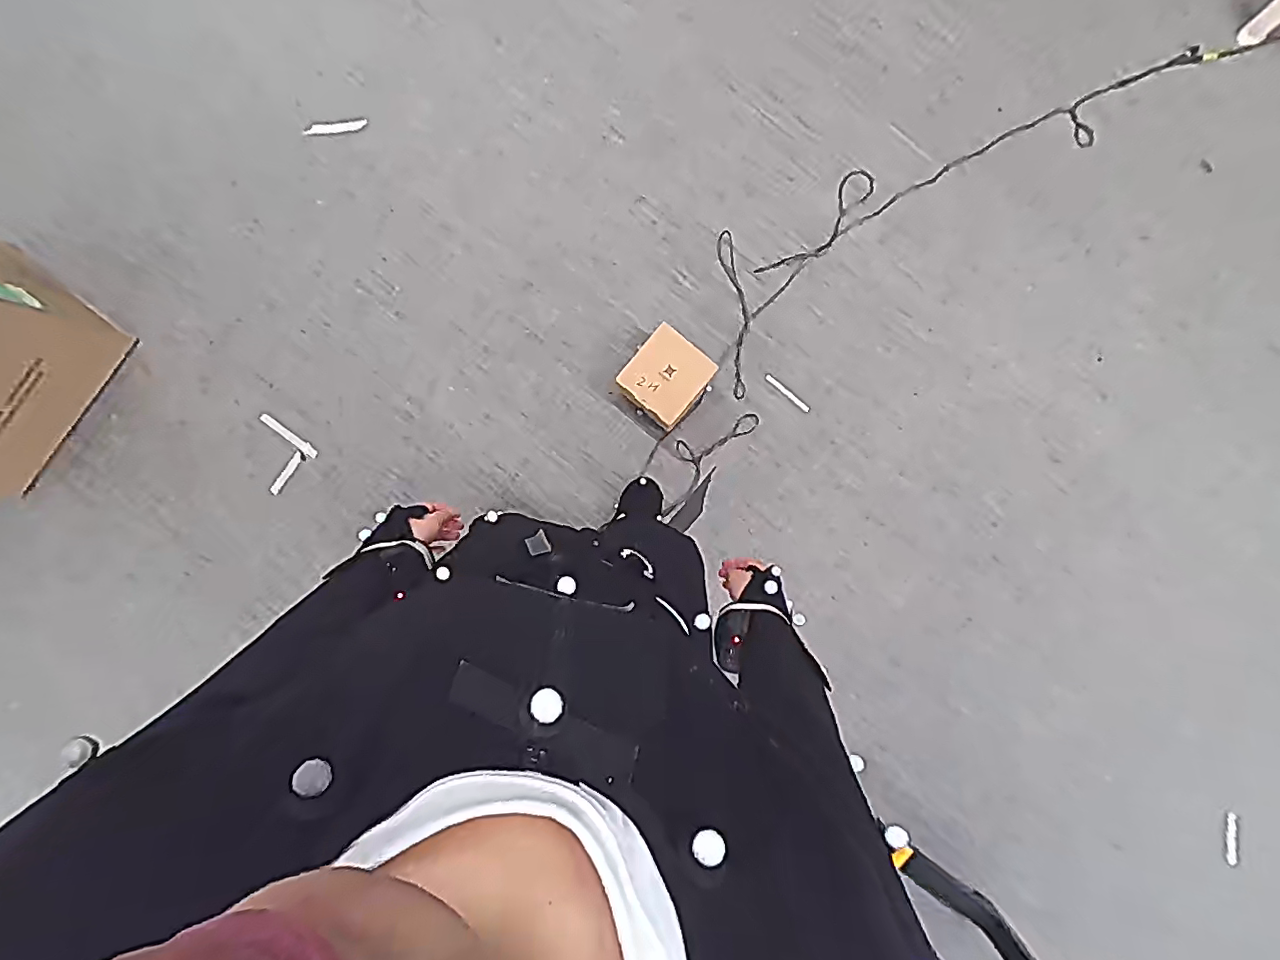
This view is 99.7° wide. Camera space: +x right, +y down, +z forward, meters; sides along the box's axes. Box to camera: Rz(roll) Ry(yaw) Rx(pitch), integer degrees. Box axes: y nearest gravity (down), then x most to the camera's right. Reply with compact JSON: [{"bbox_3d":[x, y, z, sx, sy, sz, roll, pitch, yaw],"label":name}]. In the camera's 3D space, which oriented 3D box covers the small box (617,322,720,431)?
[{"bbox_3d":[0.064,-0.235,1.276,0.168,0.176,0.179,41,92,2],"label":"small box"}]
